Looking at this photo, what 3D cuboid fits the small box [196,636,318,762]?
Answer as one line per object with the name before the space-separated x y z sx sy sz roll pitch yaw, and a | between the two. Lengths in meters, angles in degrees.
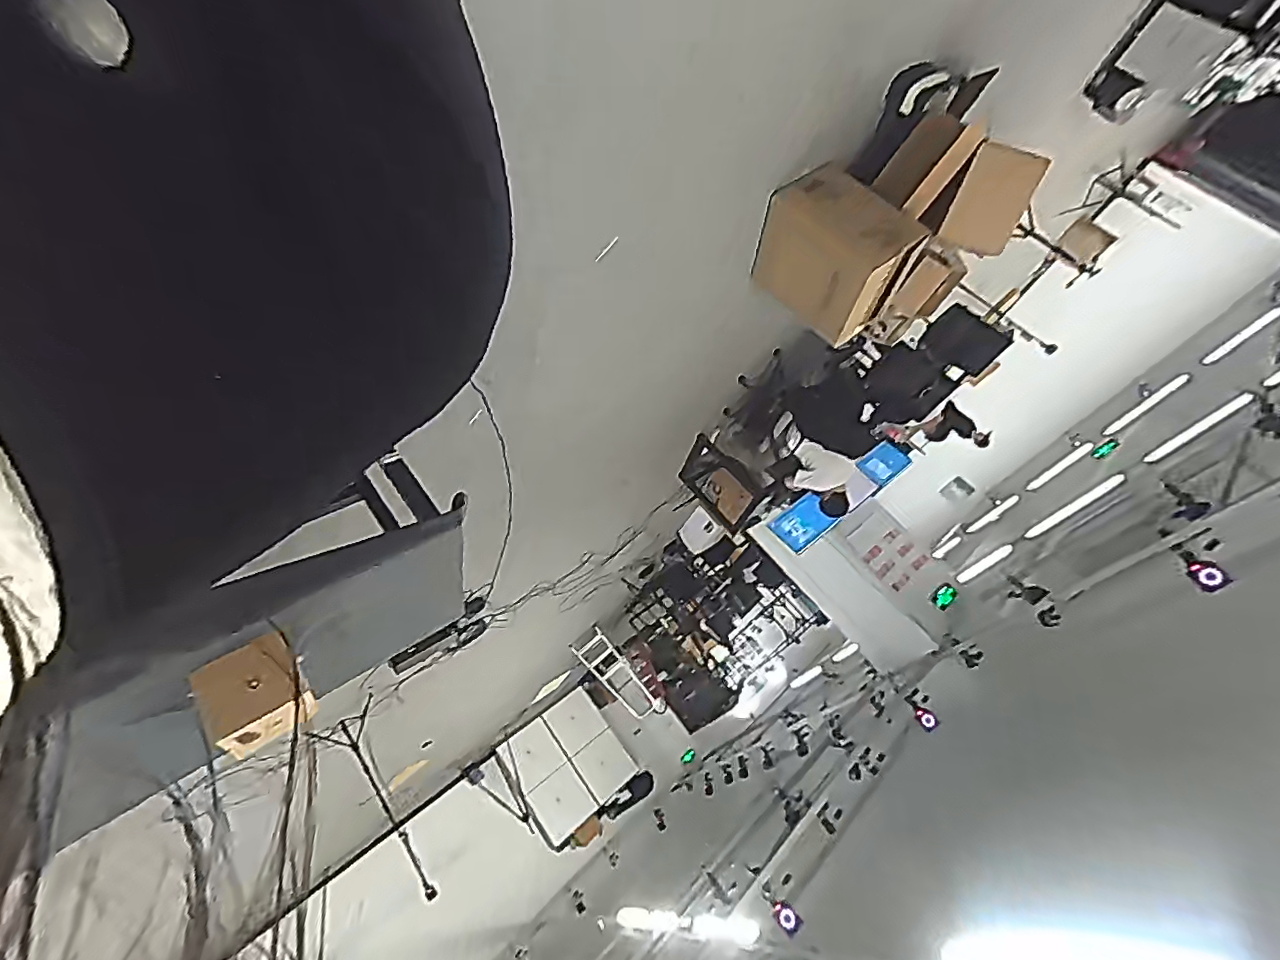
small box | -0.848 0.481 1.200 0.179 0.176 0.168 -26 157 -37
